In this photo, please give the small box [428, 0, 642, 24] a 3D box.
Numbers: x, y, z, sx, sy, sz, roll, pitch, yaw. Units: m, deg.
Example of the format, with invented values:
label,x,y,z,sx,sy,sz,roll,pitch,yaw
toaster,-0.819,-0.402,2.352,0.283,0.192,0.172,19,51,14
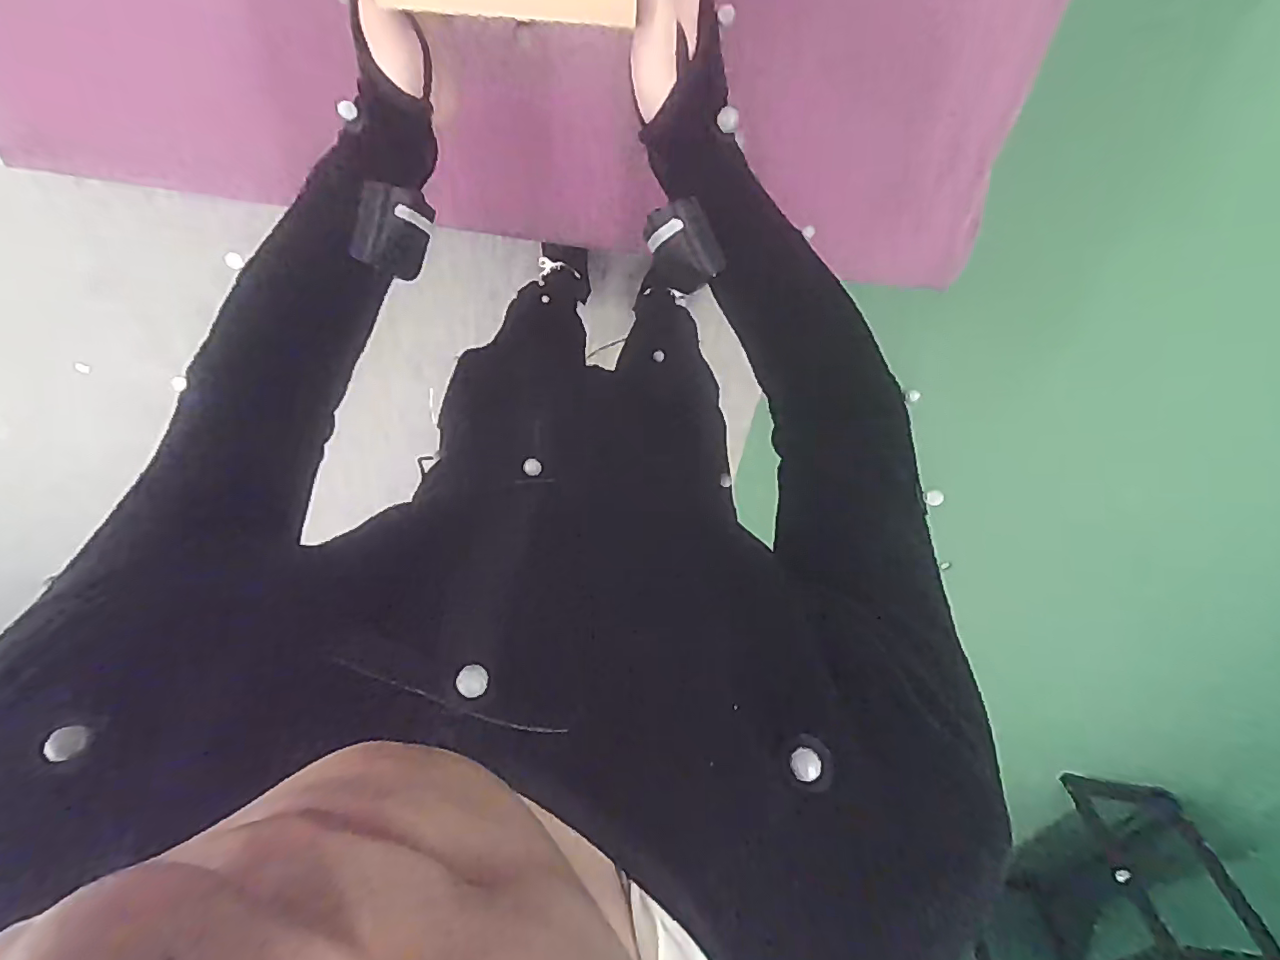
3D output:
label,x,y,z,sx,sy,sz,roll,pitch,yaw
small box,-0.079,-0.411,0.341,0.168,0.176,0.179,6,130,1
